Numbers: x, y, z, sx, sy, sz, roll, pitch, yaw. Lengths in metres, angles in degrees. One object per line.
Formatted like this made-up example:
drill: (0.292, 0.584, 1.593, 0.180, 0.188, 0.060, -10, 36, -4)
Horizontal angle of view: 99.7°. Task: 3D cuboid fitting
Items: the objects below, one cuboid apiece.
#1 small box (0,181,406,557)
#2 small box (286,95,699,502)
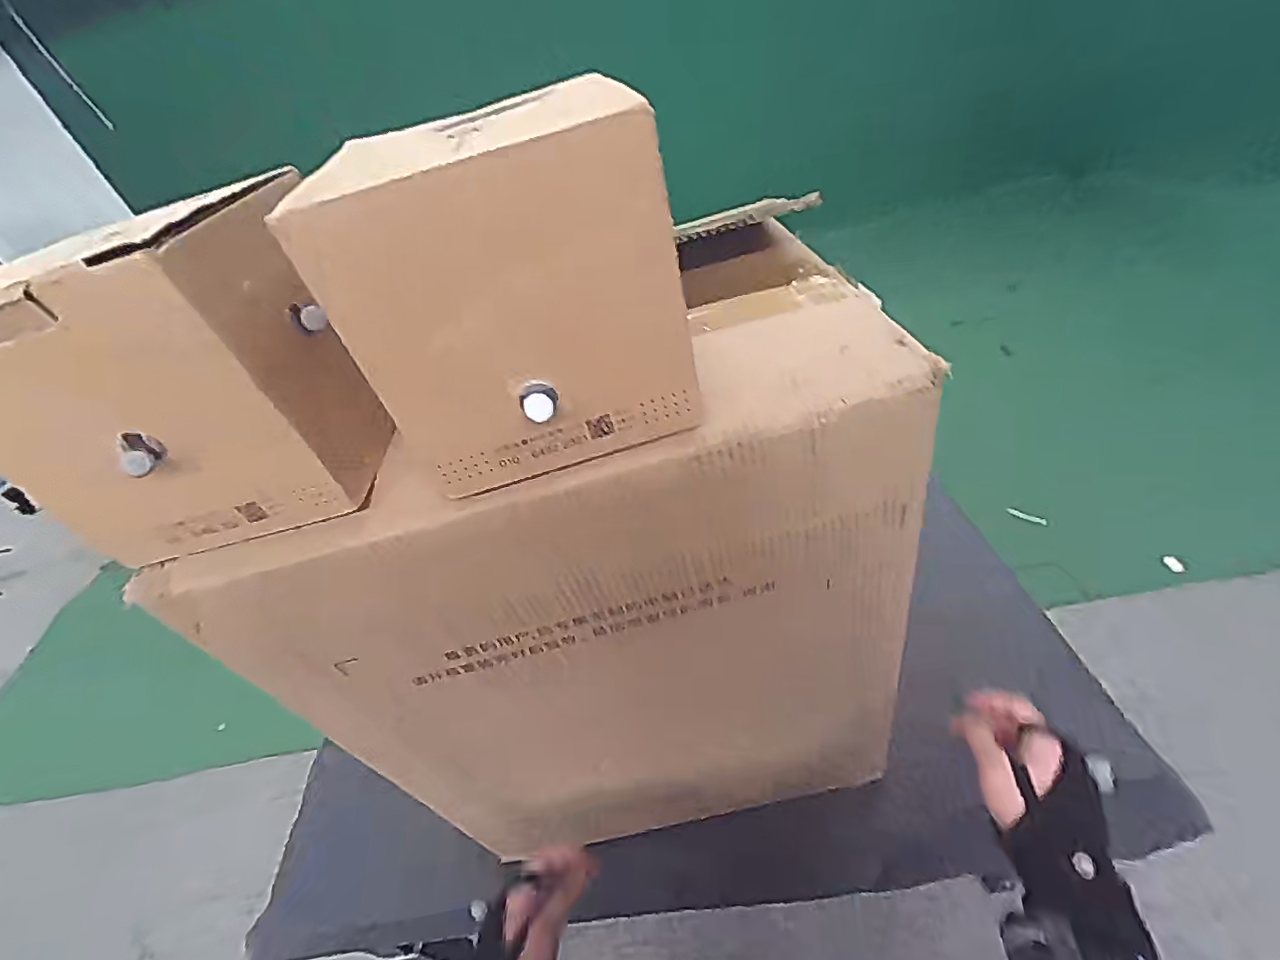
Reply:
small box: (-0.278, -0.068, 0.361, 0.168, 0.176, 0.179, -14, 41, 4)
small box: (-0.070, -0.116, 0.341, 0.168, 0.176, 0.179, -17, 42, 0)
